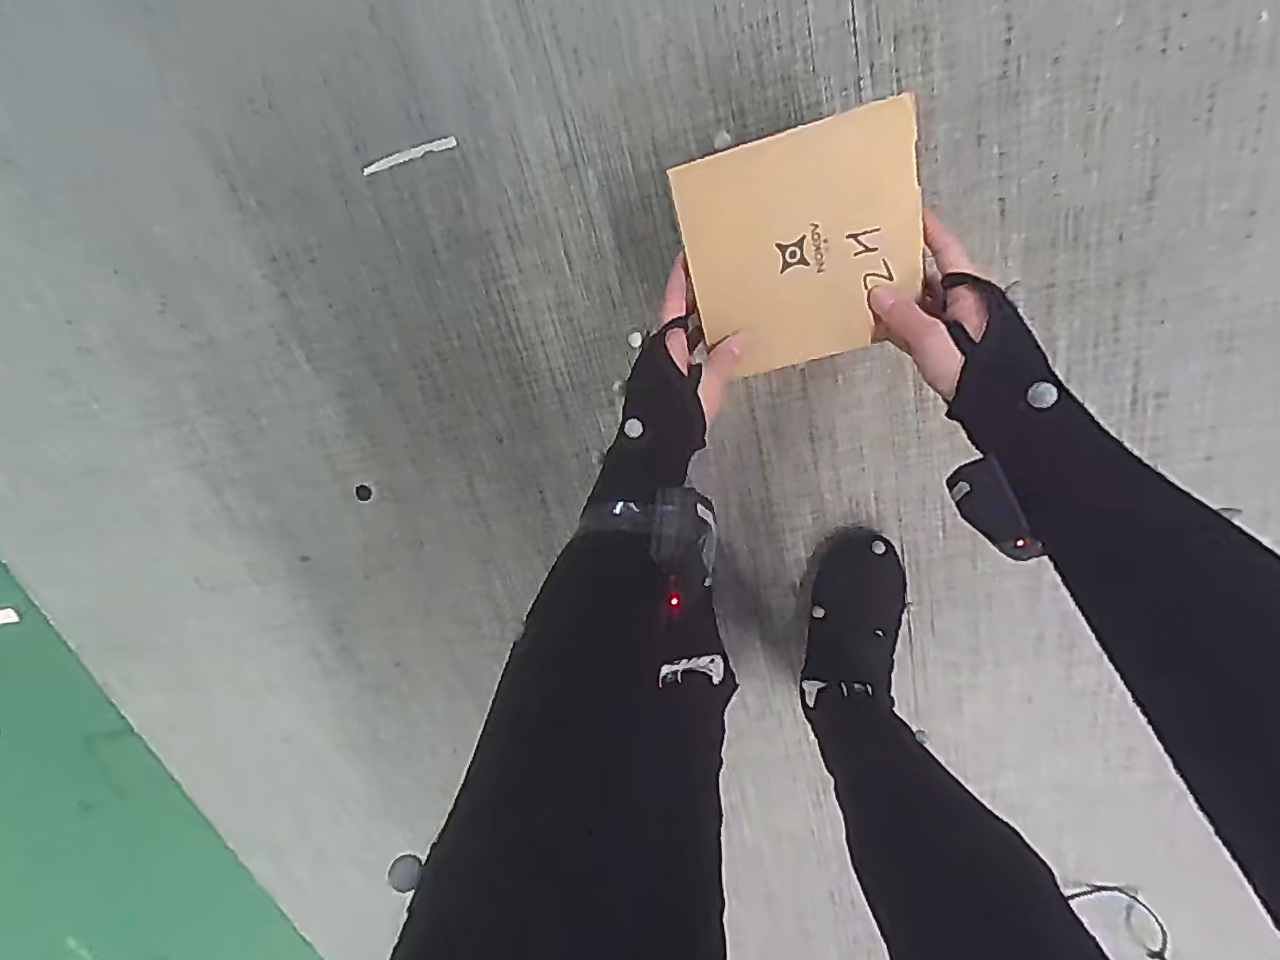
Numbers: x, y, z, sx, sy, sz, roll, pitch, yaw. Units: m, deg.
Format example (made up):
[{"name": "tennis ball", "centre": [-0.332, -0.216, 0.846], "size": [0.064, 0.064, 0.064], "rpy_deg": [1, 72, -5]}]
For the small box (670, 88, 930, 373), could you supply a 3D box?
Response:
[{"name": "small box", "centre": [0.132, -0.209, 0.483], "size": [0.179, 0.176, 0.168], "rpy_deg": [-12, 112, 10]}]
